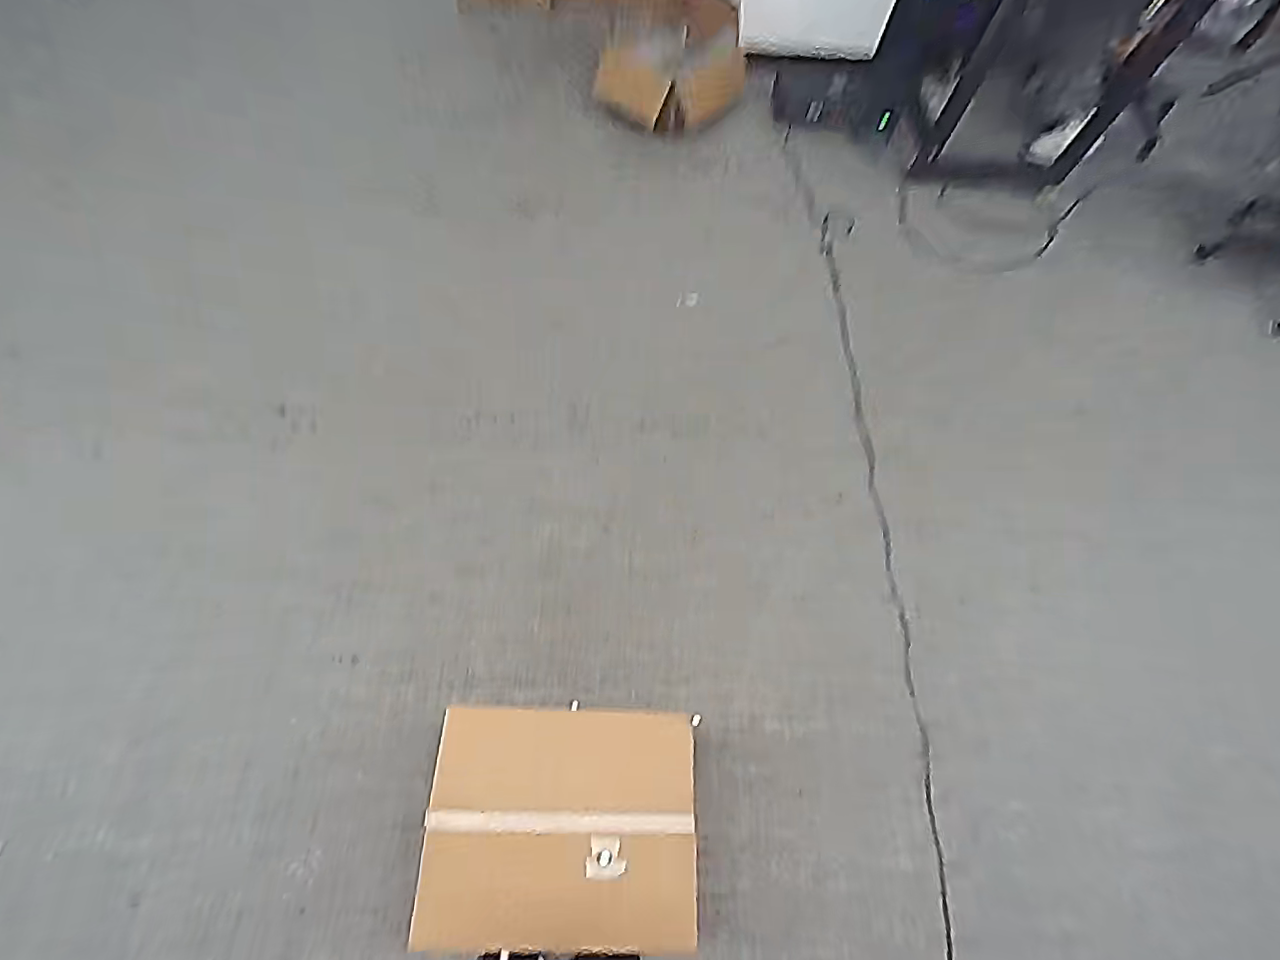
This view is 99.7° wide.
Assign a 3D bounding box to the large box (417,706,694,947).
[{"bbox_3d":[-0.132,0.589,0.969,0.408,0.320,0.320,3,64,-4],"label":"large box"}]
